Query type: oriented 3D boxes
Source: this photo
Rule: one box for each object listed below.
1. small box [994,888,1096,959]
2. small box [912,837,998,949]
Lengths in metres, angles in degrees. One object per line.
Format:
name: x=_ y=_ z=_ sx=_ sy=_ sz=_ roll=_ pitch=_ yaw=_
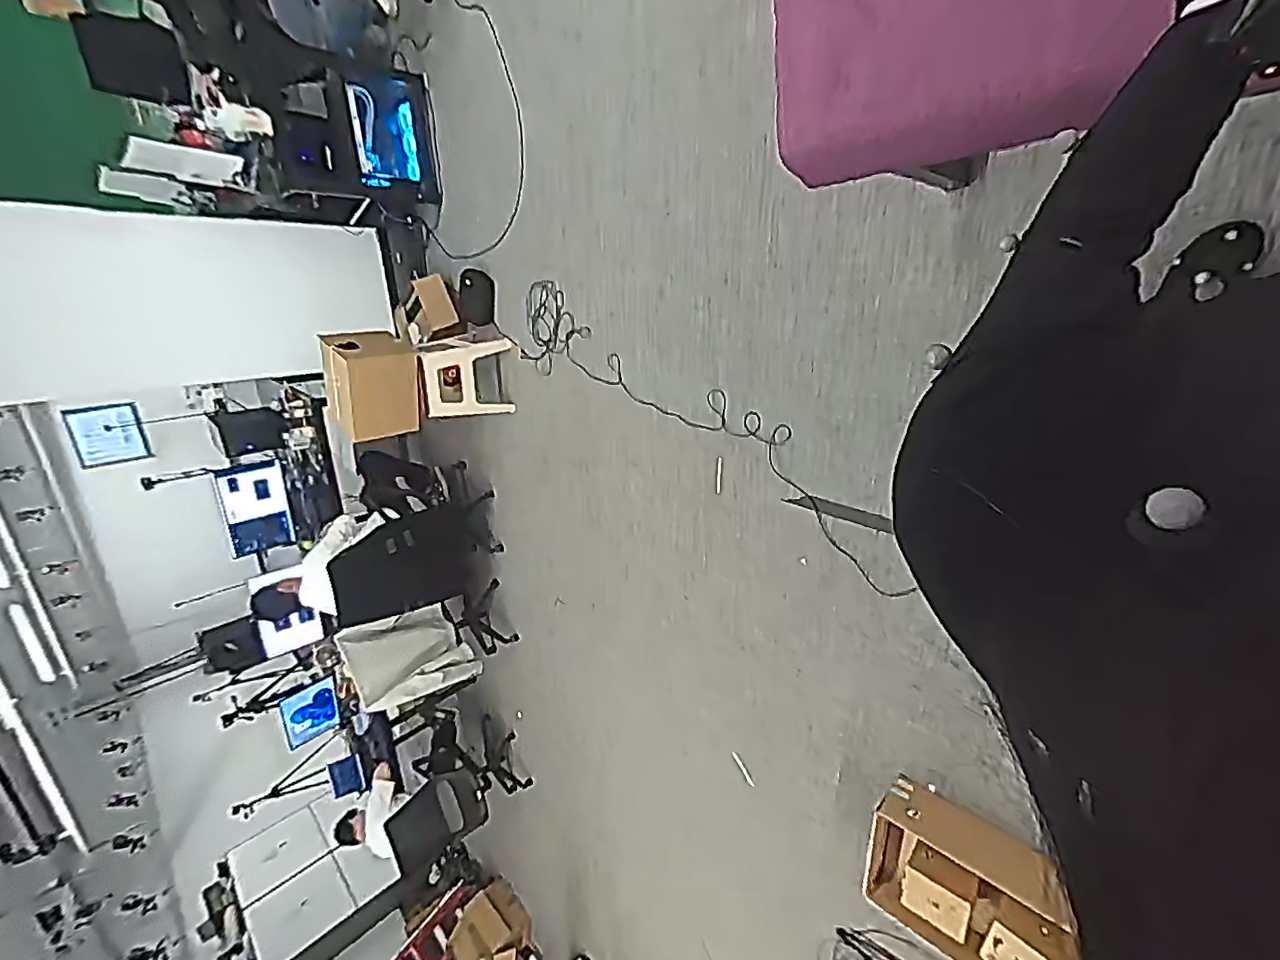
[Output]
small box: x=1.098 y=1.272 z=1.465 sx=0.179 sy=0.176 sz=0.168 roll=22 pitch=119 yaw=41
small box: x=0.942 y=1.221 z=1.618 sx=0.179 sy=0.176 sz=0.168 roll=12 pitch=114 yaw=42
